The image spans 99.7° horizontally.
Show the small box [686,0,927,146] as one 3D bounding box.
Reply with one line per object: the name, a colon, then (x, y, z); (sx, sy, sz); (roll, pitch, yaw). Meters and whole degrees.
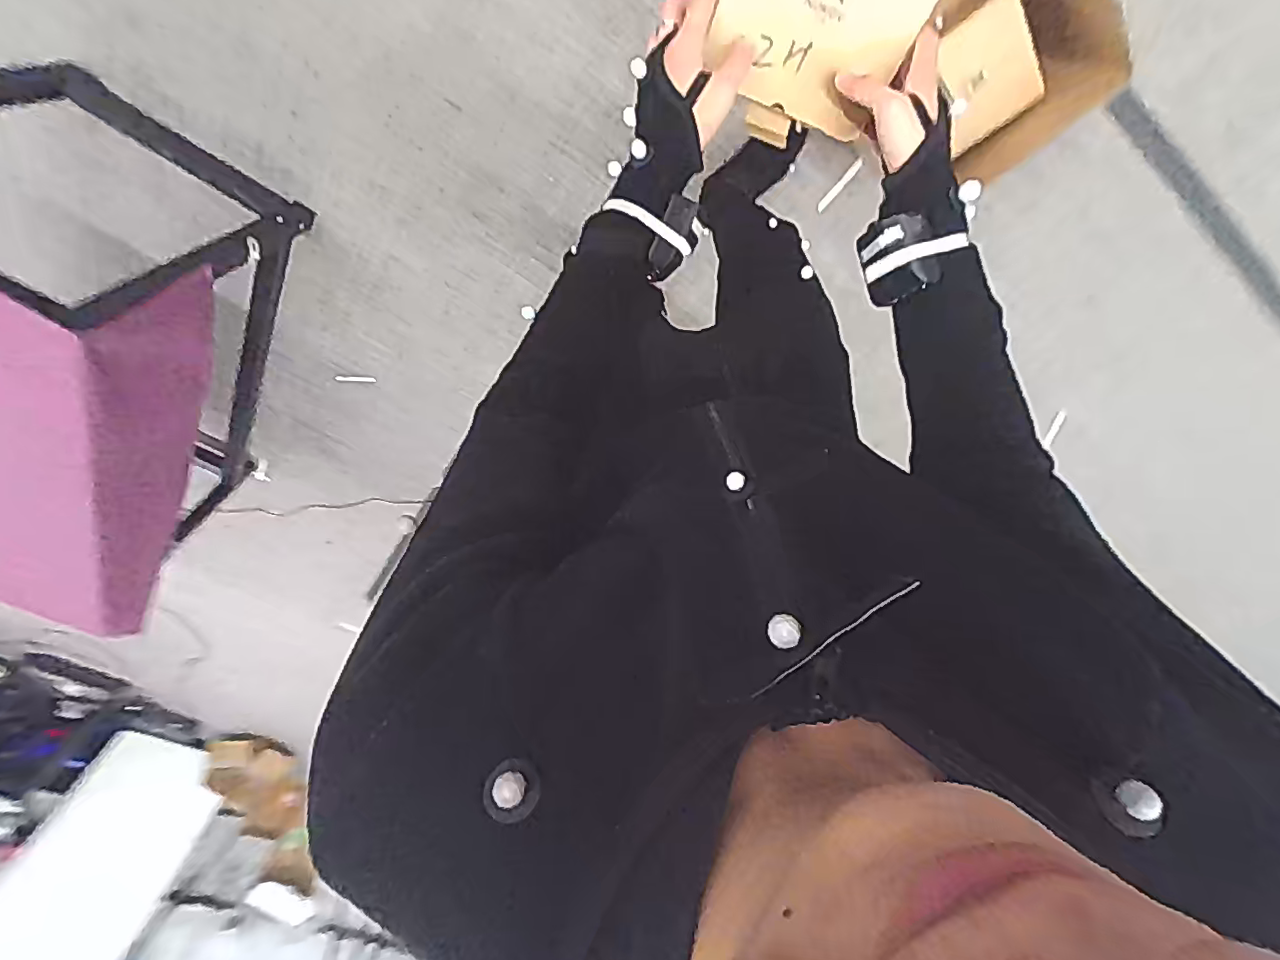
small box: (0.144, -0.446, 0.481); (0.168, 0.176, 0.179); (13, 139, -13)
